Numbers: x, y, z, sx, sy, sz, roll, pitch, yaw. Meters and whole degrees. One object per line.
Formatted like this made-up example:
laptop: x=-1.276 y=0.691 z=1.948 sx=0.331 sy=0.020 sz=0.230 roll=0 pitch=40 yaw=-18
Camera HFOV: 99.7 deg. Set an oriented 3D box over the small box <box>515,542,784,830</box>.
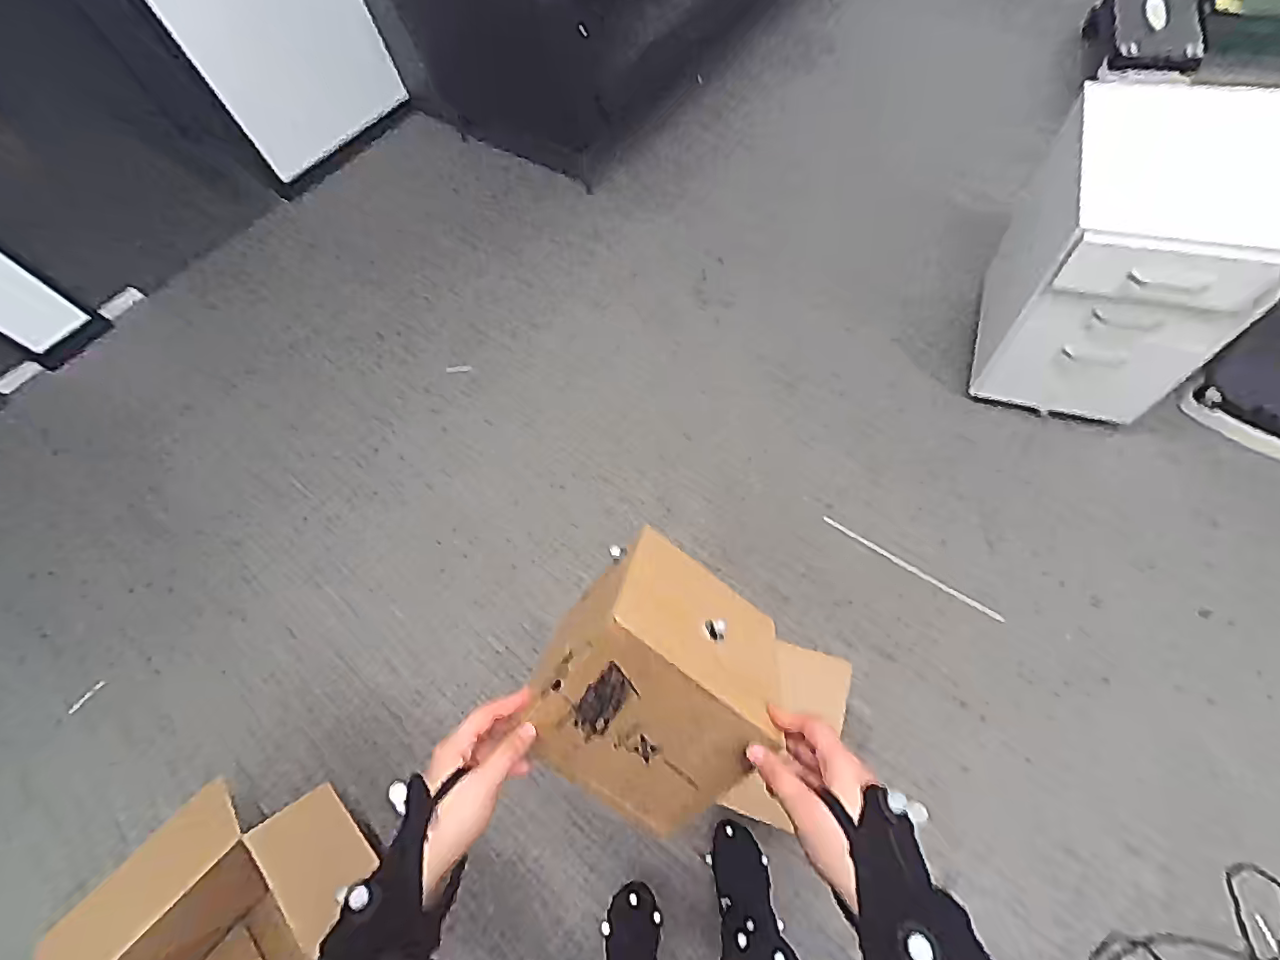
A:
small box: x=0.015 y=0.185 z=0.533 sx=0.179 sy=0.176 sz=0.168 roll=37 pitch=112 yaw=-5
